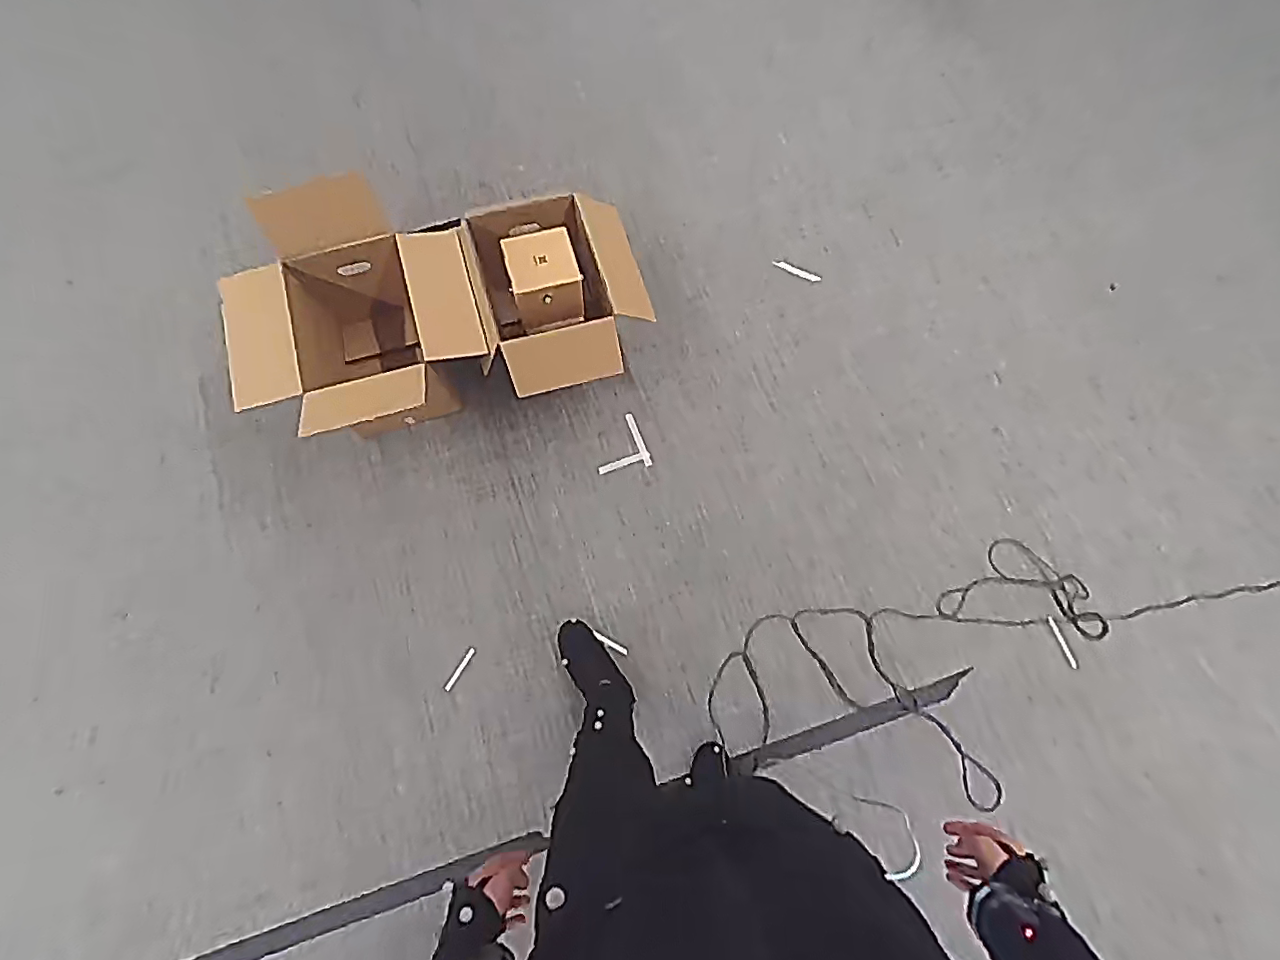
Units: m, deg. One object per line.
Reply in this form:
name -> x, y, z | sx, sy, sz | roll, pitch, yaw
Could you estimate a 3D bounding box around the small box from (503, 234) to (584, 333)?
small box -> -0.252, -0.522, 1.455 | 0.179, 0.176, 0.168 | -16, 76, -6
